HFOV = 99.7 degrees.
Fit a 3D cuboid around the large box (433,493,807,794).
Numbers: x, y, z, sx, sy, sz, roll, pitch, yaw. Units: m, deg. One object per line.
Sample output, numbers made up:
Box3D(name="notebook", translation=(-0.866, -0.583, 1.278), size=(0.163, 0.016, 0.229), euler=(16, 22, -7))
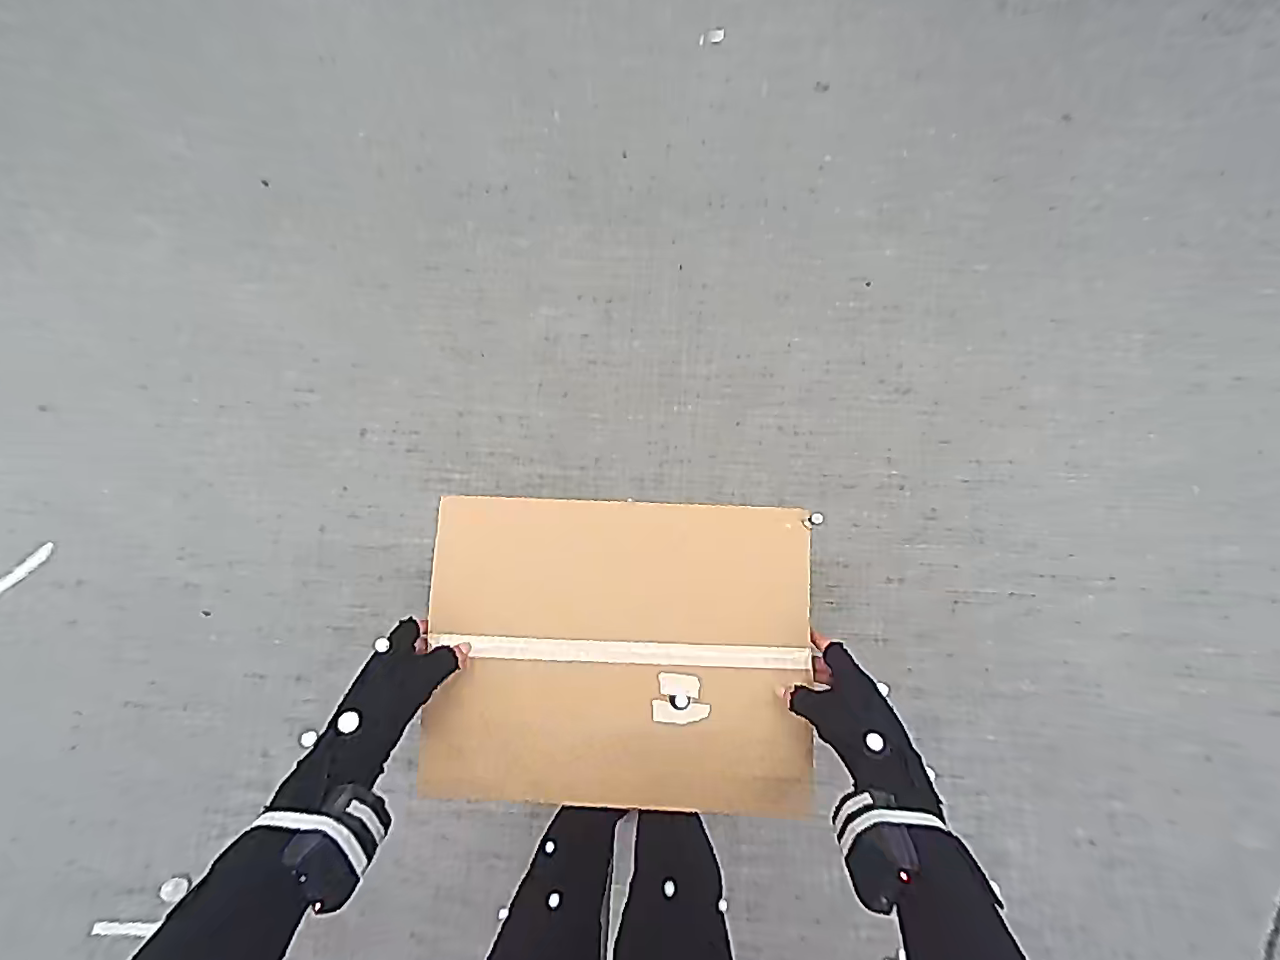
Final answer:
Box3D(name="large box", translation=(-0.018, 0.193, 0.736), size=(0.408, 0.320, 0.320), euler=(2, 83, 1))
